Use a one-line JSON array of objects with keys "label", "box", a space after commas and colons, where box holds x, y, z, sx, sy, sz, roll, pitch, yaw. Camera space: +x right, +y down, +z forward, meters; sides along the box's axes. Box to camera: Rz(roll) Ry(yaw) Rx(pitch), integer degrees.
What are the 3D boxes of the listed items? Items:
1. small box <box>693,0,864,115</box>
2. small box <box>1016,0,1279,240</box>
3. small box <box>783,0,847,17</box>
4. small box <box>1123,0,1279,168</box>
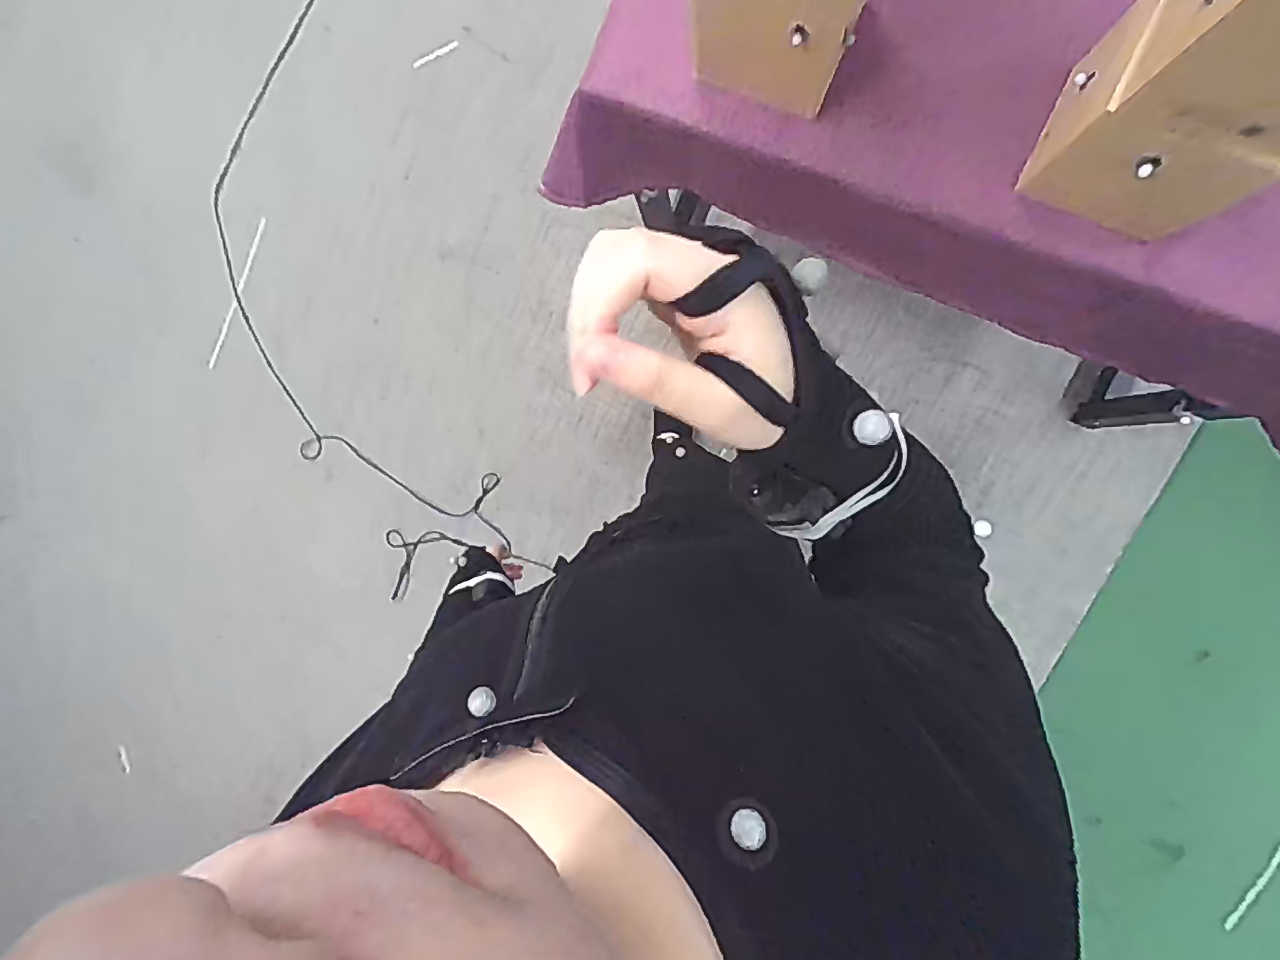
[{"label": "small box", "box": [0.169, -0.576, 0.635, 0.179, 0.176, 0.168, 23, 95, 4]}, {"label": "small box", "box": [0.567, -0.393, 0.592, 0.179, 0.176, 0.168, 26, 96, 5]}, {"label": "small box", "box": [0.151, -0.570, 0.472, 0.168, 0.176, 0.179, 23, 94, 5]}, {"label": "small box", "box": [0.550, -0.391, 0.430, 0.168, 0.176, 0.179, 23, 95, 5]}]
